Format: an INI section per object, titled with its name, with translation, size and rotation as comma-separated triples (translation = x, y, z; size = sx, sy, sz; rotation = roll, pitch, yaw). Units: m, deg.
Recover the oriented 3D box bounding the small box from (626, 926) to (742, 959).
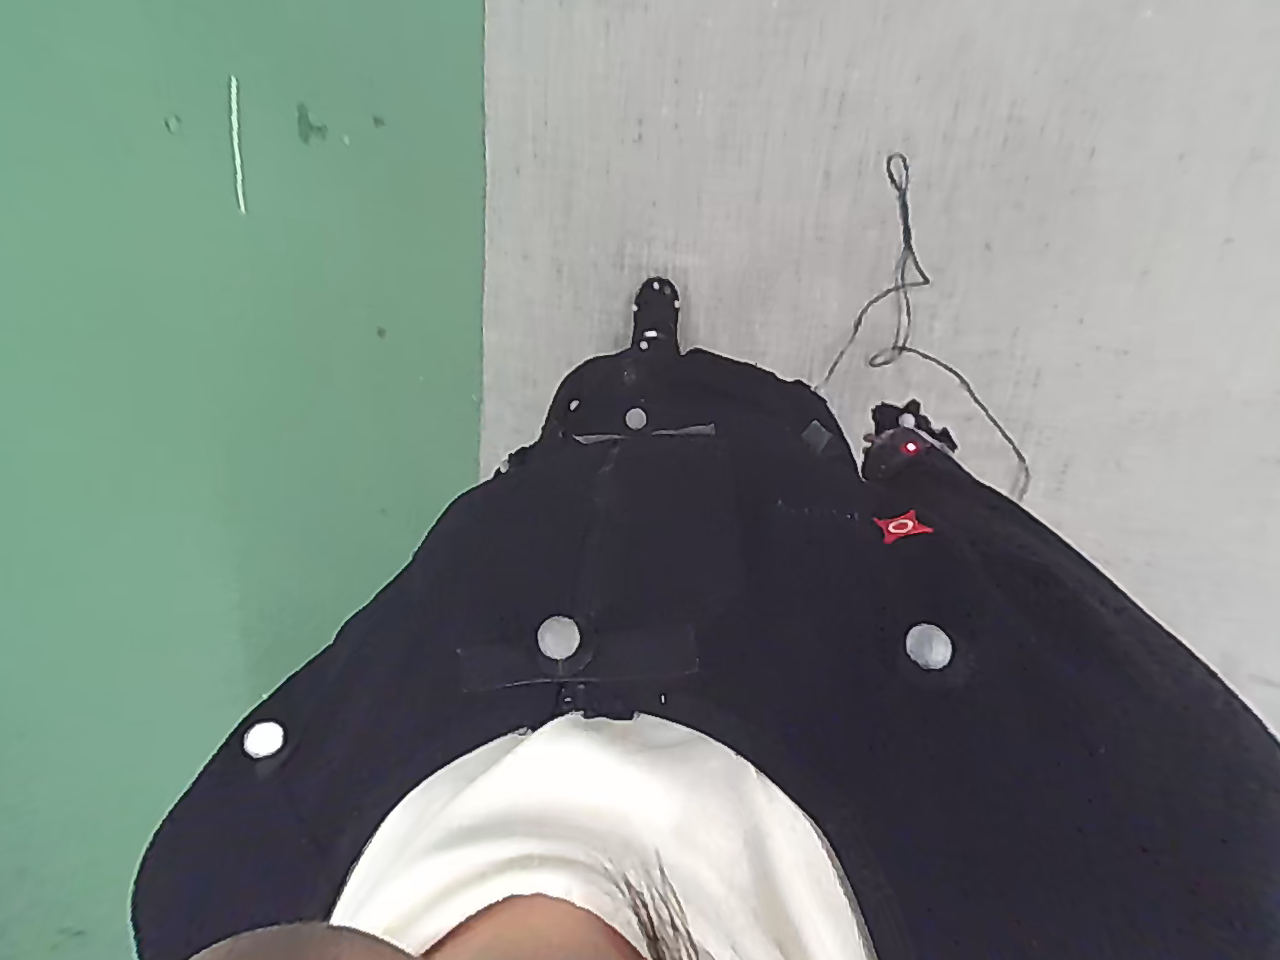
[small box]
translation = 0.054, 0.791, 0.773
size = 0.179, 0.176, 0.168
rotation = 5, 104, 6
